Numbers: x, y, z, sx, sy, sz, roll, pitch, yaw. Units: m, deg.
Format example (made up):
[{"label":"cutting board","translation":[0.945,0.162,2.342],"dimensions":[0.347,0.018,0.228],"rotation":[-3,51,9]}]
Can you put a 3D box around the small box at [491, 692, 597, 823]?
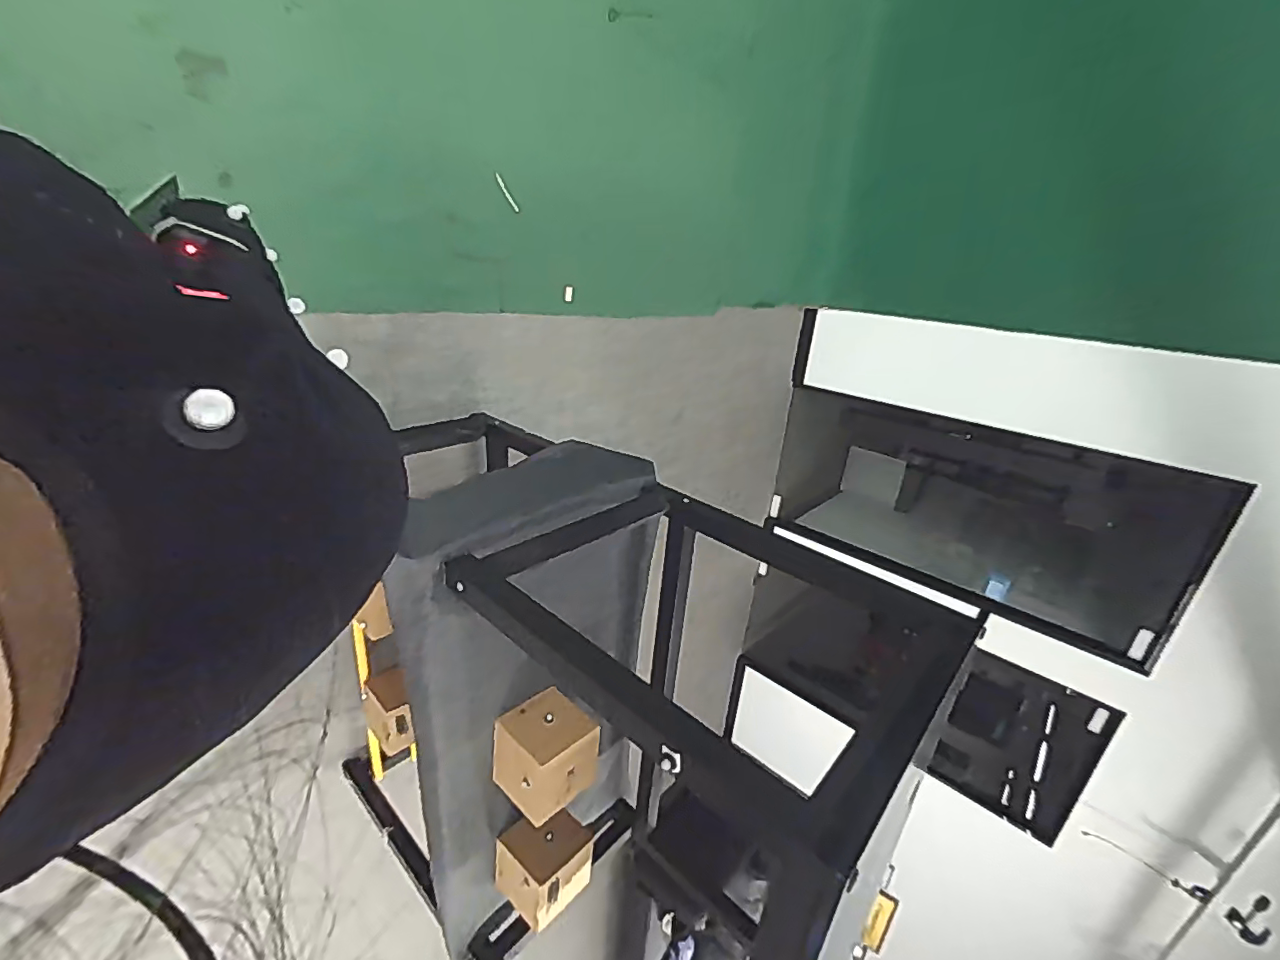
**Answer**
[{"label":"small box","translation":[-0.218,0.607,1.215],"dimensions":[0.168,0.176,0.179],"rotation":[-16,120,-47]}]

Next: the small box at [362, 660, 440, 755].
[{"label":"small box","translation":[-0.737,0.689,1.659],"dimensions":[0.179,0.176,0.168],"rotation":[-15,120,-47]}]
